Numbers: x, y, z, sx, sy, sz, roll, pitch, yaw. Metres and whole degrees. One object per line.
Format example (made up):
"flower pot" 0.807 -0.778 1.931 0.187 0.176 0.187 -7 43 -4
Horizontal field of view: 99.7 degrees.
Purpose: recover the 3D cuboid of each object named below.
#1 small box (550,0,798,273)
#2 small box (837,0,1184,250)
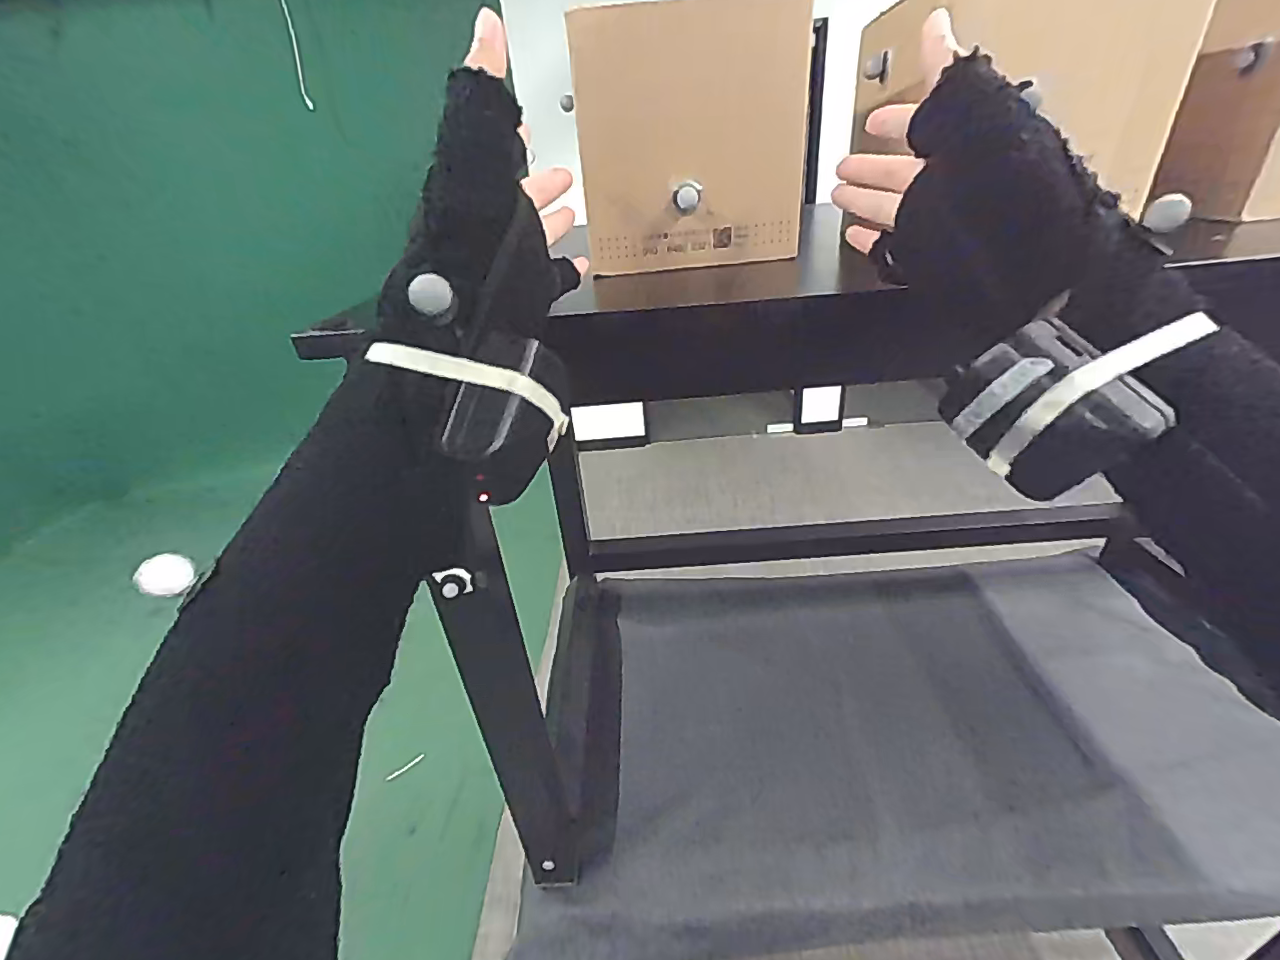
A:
"small box" 0.024 -0.280 0.462 0.168 0.176 0.179 -6 30 0
"small box" 0.267 -0.285 0.430 0.168 0.176 0.179 -4 30 4
